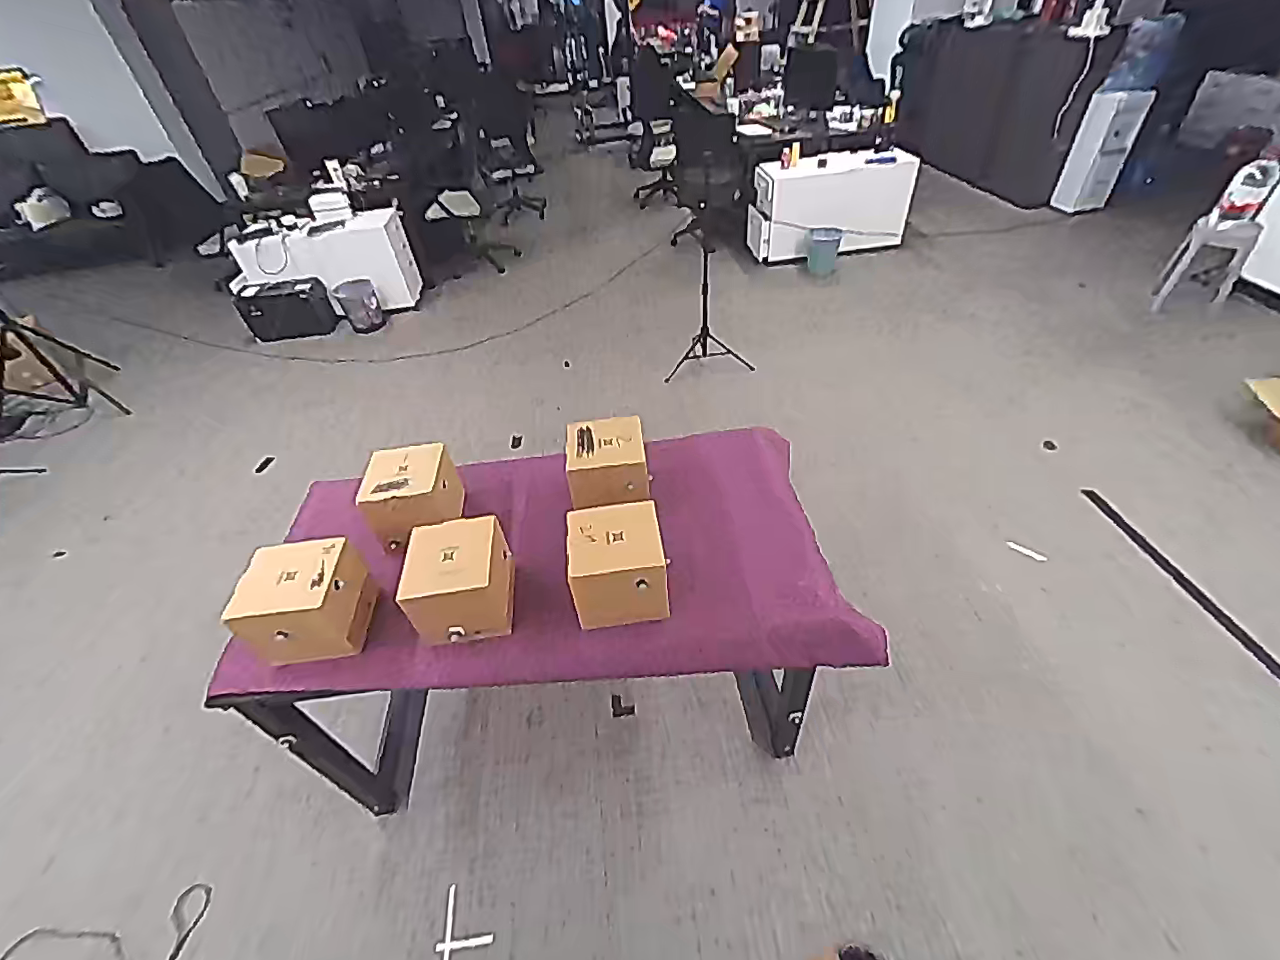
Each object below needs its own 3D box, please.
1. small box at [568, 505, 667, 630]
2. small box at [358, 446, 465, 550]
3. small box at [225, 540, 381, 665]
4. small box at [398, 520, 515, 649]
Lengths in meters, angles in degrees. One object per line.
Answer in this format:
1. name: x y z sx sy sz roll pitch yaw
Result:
1. small box: -0.042 0.173 1.061 0.179 0.176 0.168 -8 42 -1
2. small box: -0.519 0.049 1.257 0.168 0.176 0.179 -8 42 -2
3. small box: -0.642 0.243 1.057 0.179 0.176 0.168 -8 43 -1
4. small box: -0.349 0.206 1.068 0.168 0.176 0.179 -8 44 -1
